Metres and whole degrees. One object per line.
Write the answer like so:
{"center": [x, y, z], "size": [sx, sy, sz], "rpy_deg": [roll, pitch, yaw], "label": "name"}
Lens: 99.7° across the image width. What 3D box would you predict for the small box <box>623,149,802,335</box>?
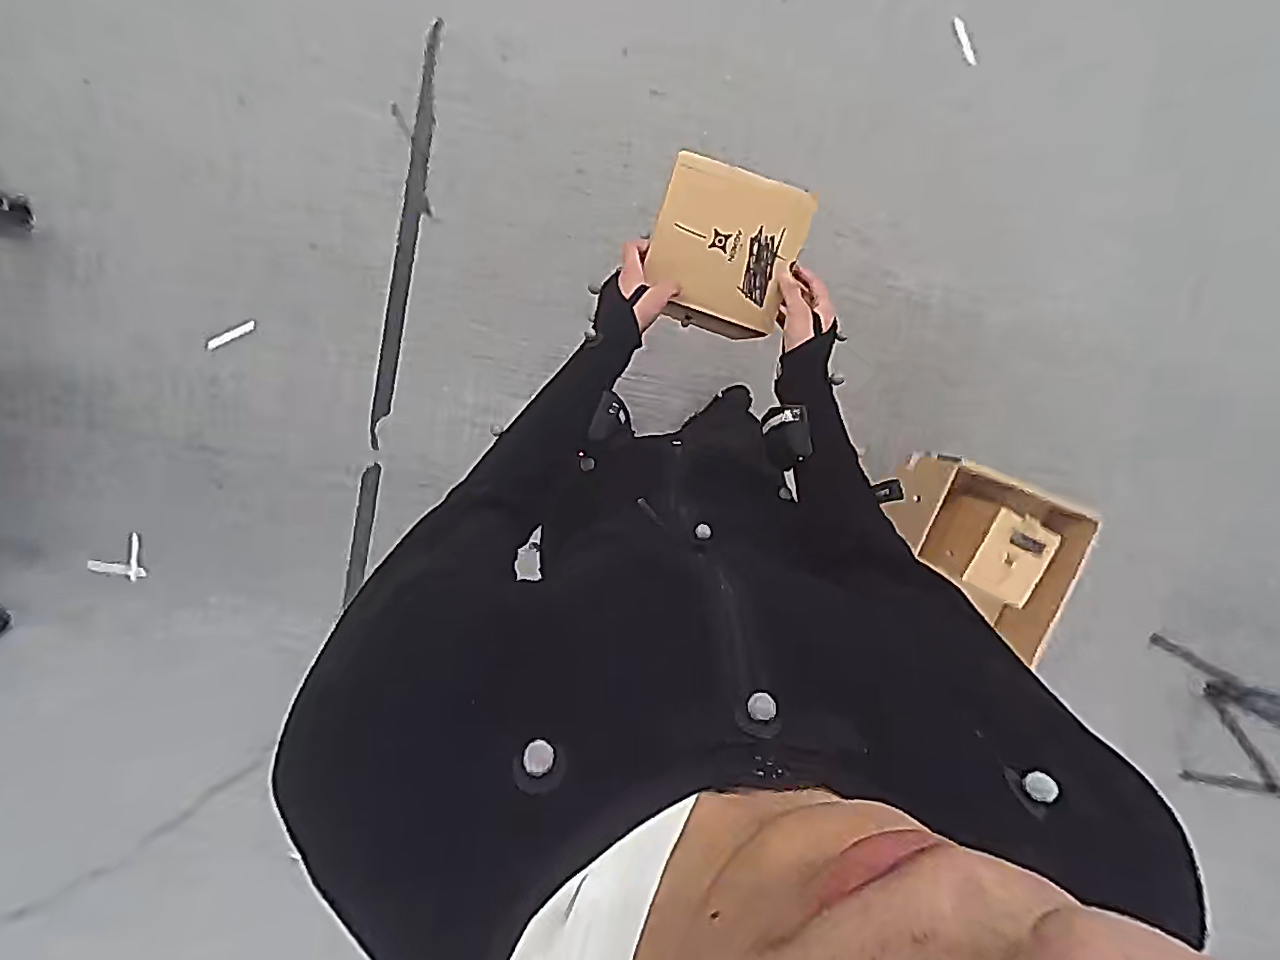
{"center": [0.083, -0.300, 0.723], "size": [0.179, 0.176, 0.168], "rpy_deg": [17, 101, -6], "label": "small box"}
